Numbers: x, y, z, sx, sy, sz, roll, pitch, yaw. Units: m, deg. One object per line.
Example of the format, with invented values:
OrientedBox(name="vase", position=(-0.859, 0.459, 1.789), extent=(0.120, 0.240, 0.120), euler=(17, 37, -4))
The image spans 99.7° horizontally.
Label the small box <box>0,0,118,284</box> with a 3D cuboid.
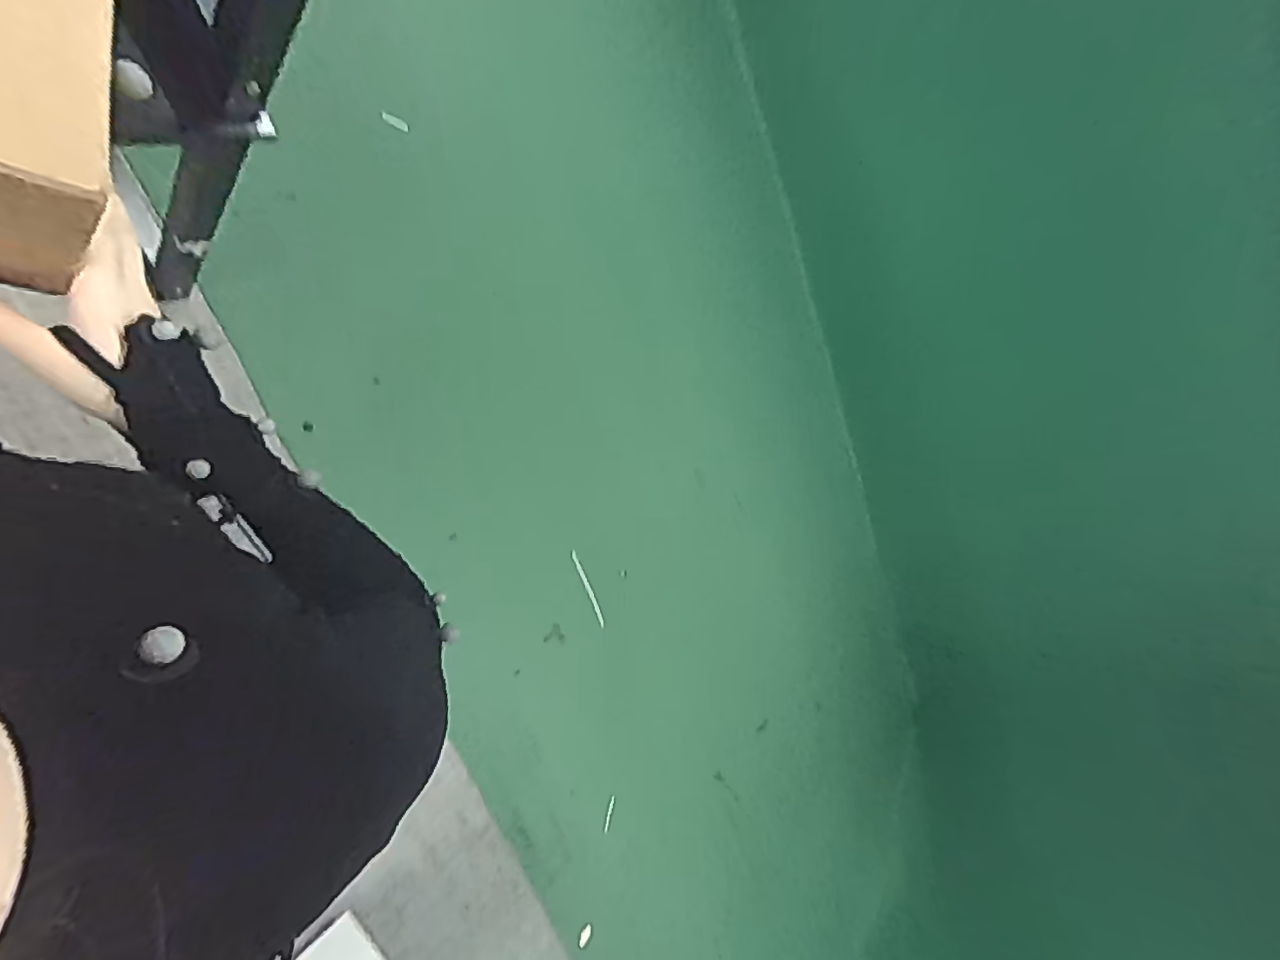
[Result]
OrientedBox(name="small box", position=(-0.342, -0.206, 0.224), extent=(0.168, 0.176, 0.179), euler=(3, 88, -50))
